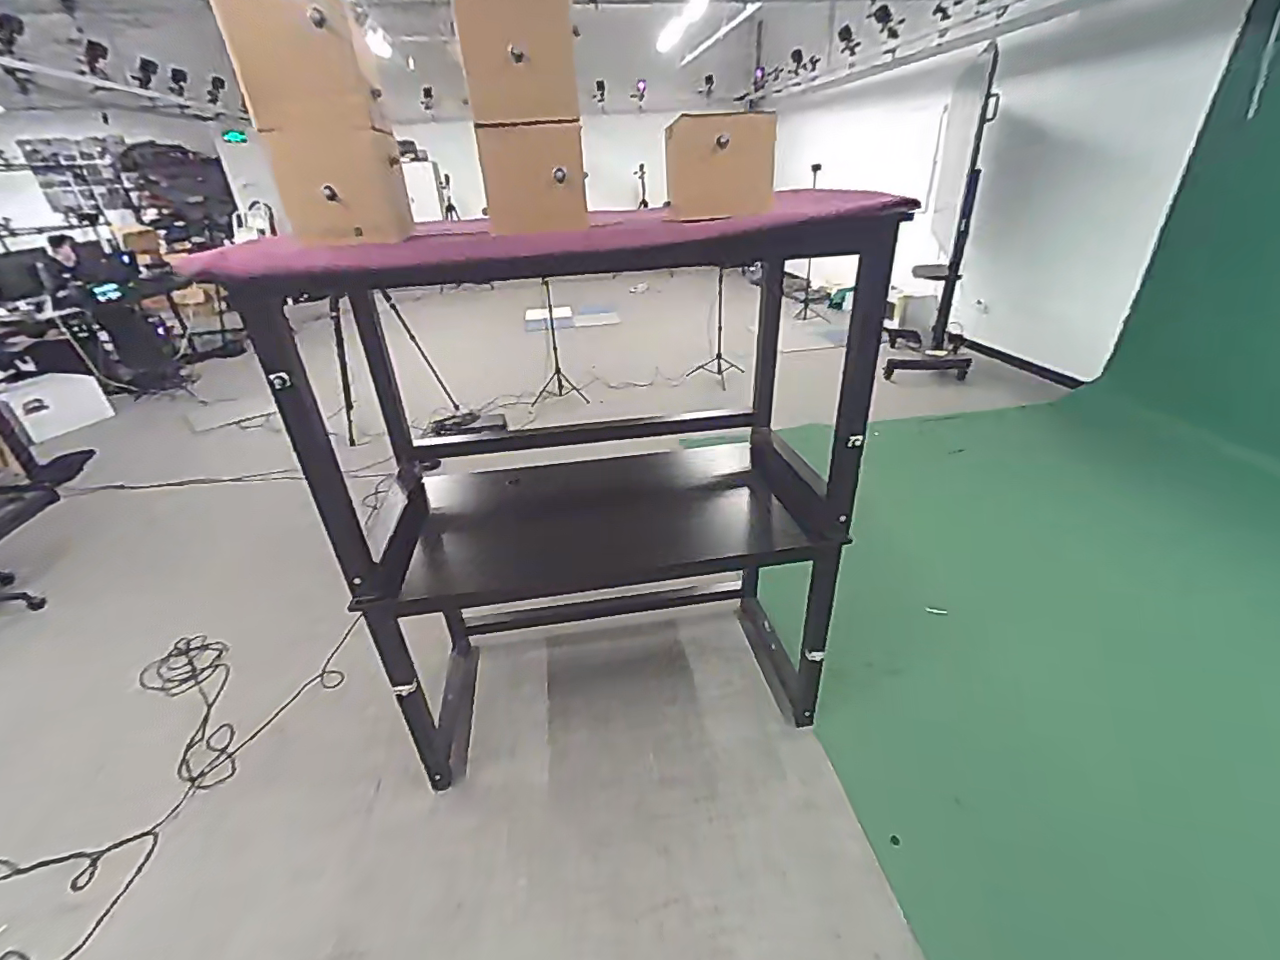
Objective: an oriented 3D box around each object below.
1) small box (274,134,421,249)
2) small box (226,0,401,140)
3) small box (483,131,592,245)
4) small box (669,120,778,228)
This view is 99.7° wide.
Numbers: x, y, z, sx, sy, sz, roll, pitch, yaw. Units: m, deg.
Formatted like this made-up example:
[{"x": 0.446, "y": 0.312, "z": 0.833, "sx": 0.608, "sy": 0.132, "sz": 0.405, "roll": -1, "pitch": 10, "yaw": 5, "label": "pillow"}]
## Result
[{"x": -0.499, "y": -0.505, "z": 0.955, "sx": 0.168, "sy": 0.176, "sz": 0.179, "roll": -6, "pitch": 29, "yaw": -8, "label": "small box"}, {"x": -0.509, "y": -0.646, "z": 0.874, "sx": 0.179, "sy": 0.176, "sz": 0.168, "roll": -7, "pitch": 30, "yaw": -10, "label": "small box"}, {"x": -0.183, "y": -0.539, "z": 1.002, "sx": 0.179, "sy": 0.176, "sz": 0.168, "roll": -7, "pitch": 29, "yaw": -7, "label": "small box"}, {"x": 0.158, "y": -0.590, "z": 1.061, "sx": 0.179, "sy": 0.176, "sz": 0.168, "roll": -5, "pitch": 27, "yaw": -5, "label": "small box"}]
